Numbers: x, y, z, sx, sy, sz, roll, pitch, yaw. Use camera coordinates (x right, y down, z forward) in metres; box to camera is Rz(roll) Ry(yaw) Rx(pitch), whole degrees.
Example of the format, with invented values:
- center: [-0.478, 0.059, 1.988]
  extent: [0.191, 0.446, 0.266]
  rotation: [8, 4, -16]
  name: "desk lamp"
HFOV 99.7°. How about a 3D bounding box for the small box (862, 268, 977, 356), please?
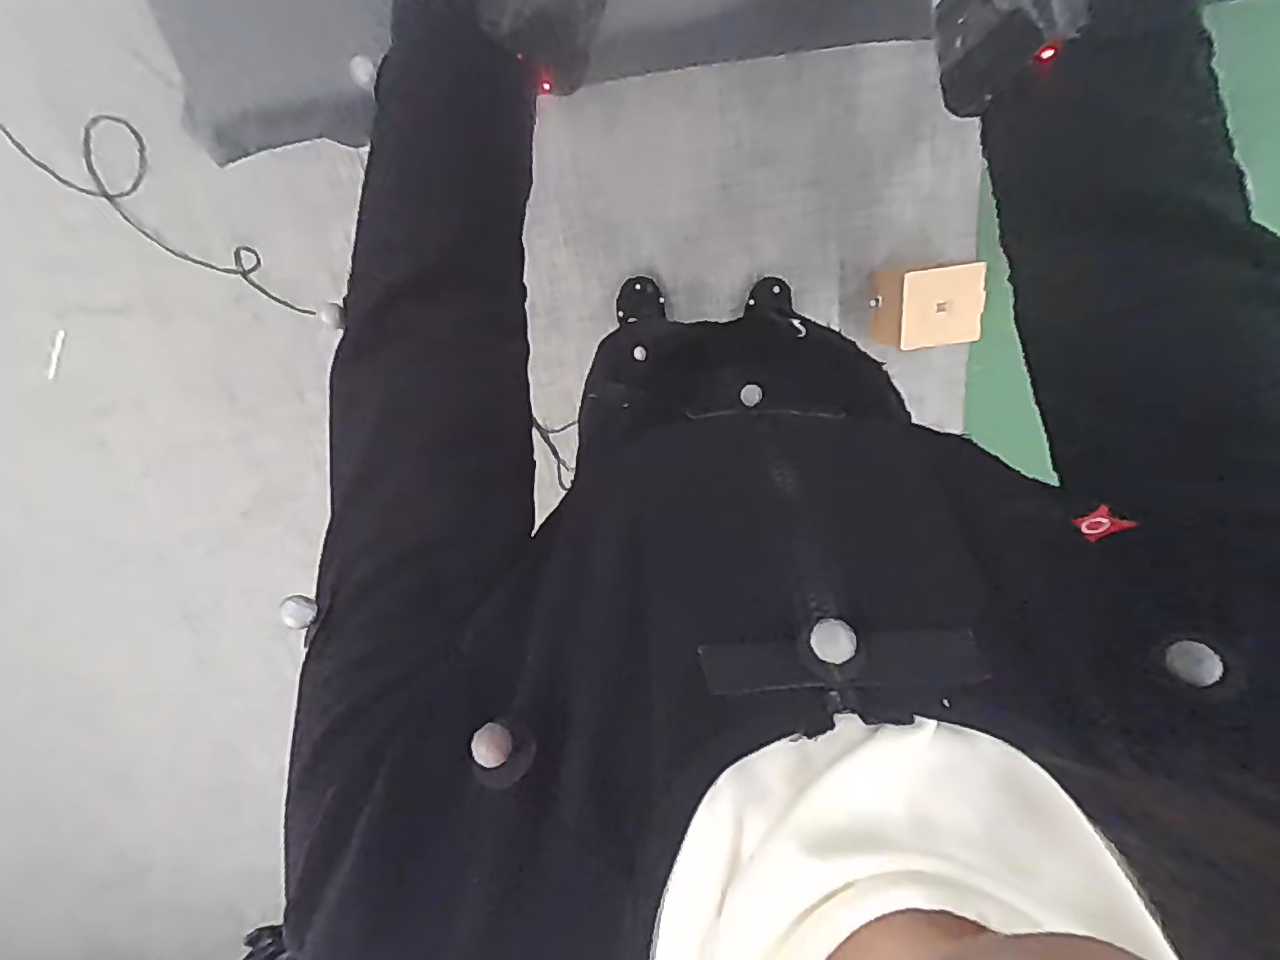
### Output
- center: [0.635, -0.392, 1.249]
  extent: [0.179, 0.176, 0.168]
  rotation: [-6, 112, 3]
  name: "small box"
